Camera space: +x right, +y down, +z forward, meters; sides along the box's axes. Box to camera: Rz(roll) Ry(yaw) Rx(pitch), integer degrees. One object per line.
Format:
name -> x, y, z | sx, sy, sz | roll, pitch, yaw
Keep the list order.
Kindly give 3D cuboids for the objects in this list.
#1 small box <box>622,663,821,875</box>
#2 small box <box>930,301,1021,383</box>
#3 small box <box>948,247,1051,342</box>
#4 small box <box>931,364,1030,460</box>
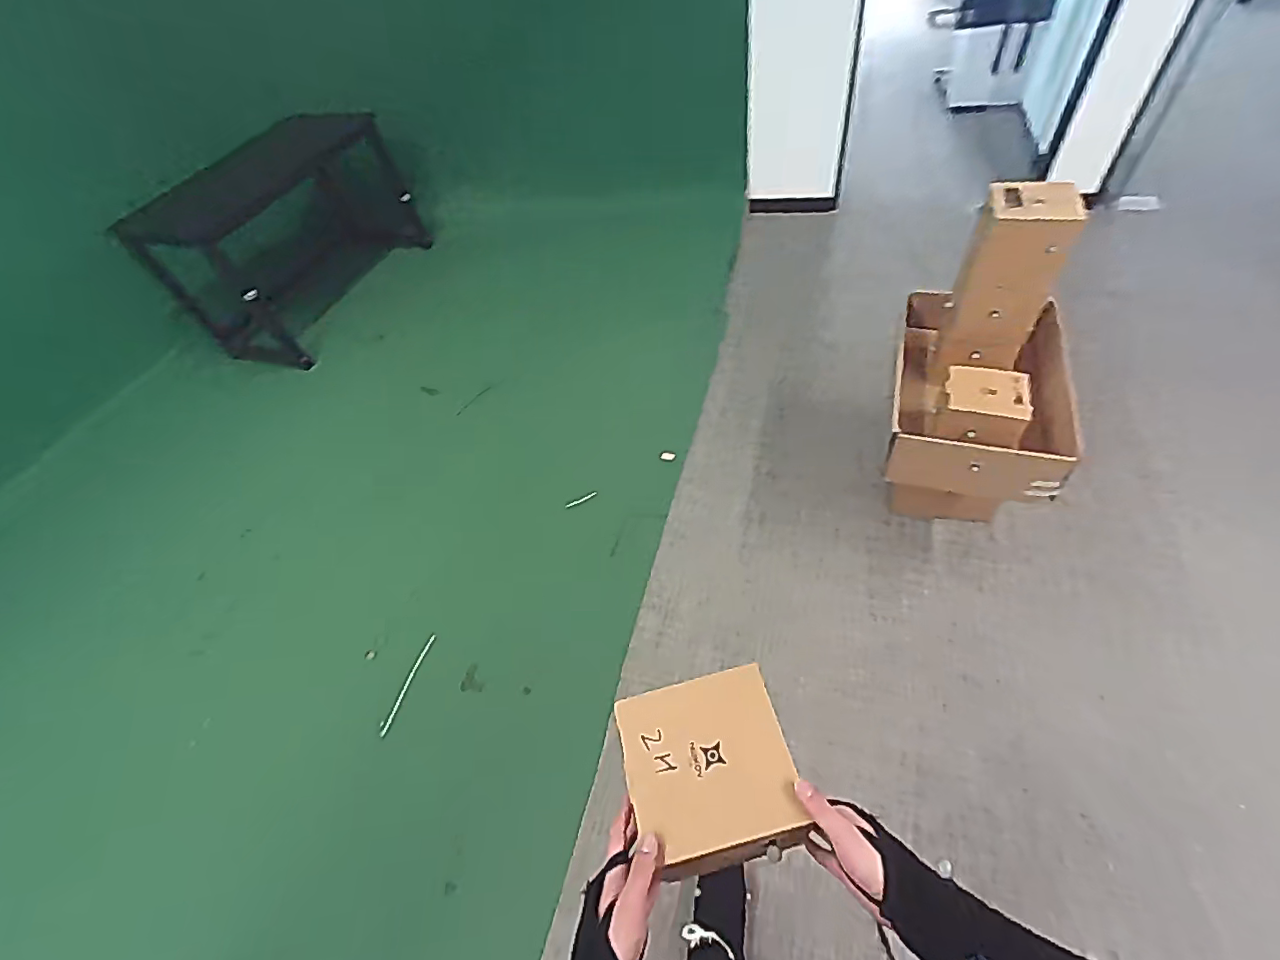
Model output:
small box -> 0.088, 0.340, 0.631 | 0.179, 0.176, 0.168 | -15, 49, 0
small box -> 0.940, -0.381, 1.524 | 0.179, 0.176, 0.168 | 10, 56, 17
small box -> 0.915, -0.475, 1.393 | 0.179, 0.176, 0.168 | 8, 55, 17
small box -> 0.856, -0.170, 1.375 | 0.179, 0.176, 0.168 | 12, 55, 19
